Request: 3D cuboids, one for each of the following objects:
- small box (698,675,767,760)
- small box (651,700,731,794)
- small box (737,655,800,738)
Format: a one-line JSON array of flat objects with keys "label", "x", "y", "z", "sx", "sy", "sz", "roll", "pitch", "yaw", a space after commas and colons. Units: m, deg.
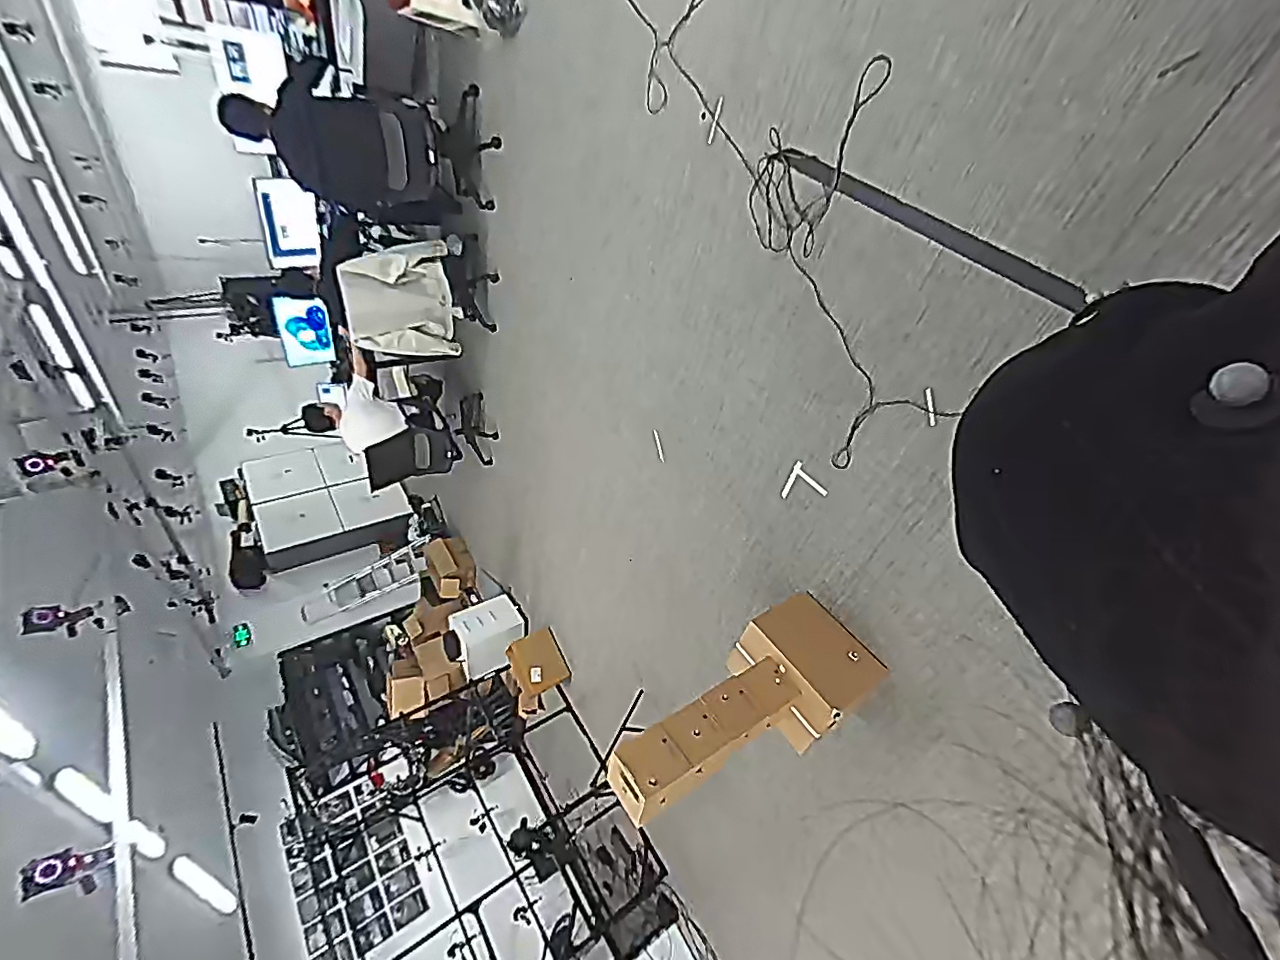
[{"label": "small box", "x": 0.290, "y": 0.776, "z": 1.773, "sx": 0.168, "sy": 0.176, "sz": 0.179, "roll": 47, "pitch": 140, "yaw": 35}, {"label": "small box", "x": 0.159, "y": 0.824, "z": 1.684, "sx": 0.168, "sy": 0.176, "sz": 0.179, "roll": 44, "pitch": 137, "yaw": 38}, {"label": "small box", "x": 0.421, "y": 0.741, "z": 1.861, "sx": 0.168, "sy": 0.176, "sz": 0.179, "roll": 47, "pitch": 139, "yaw": 33}]
